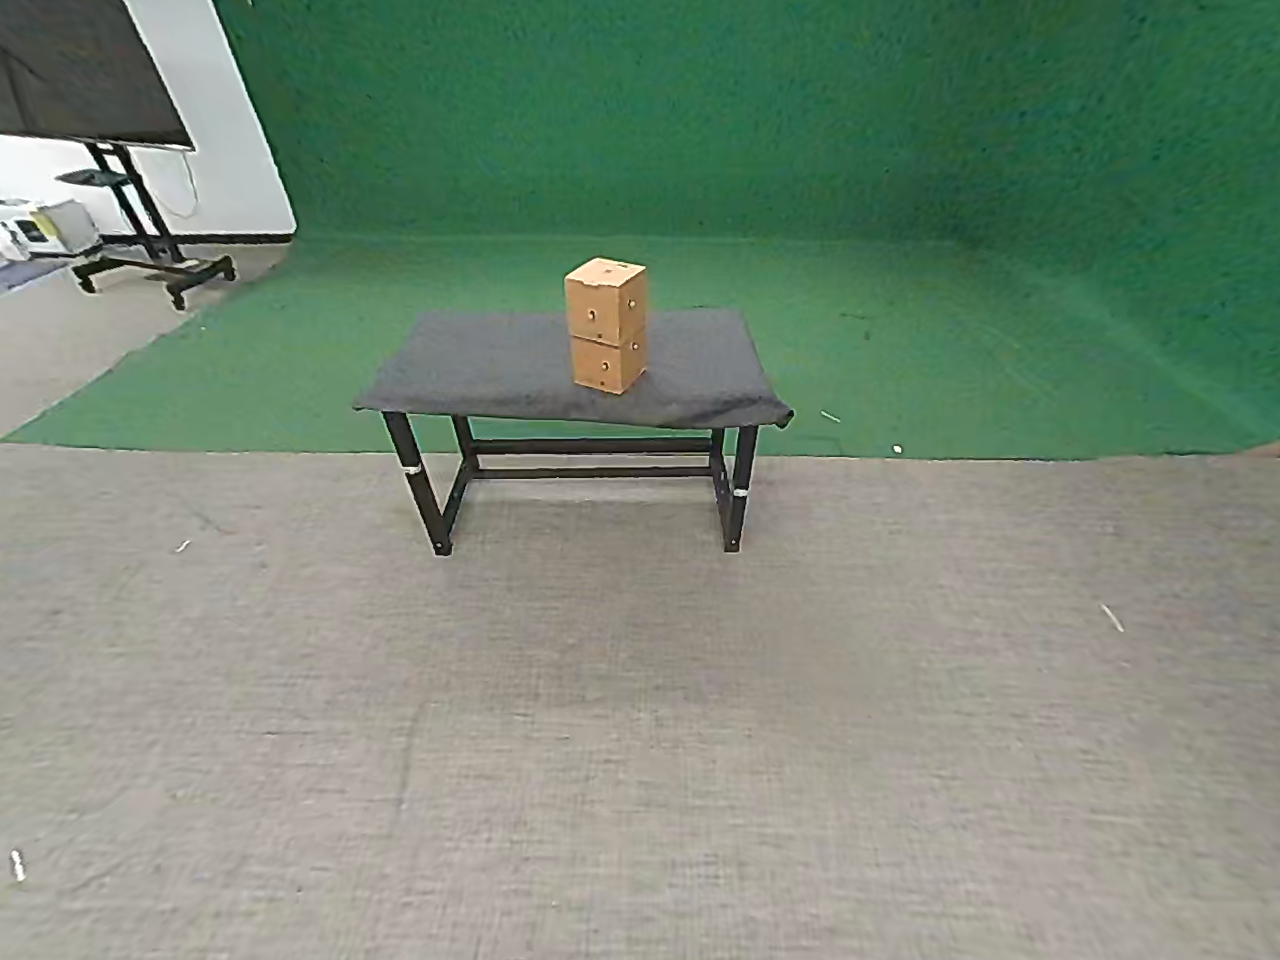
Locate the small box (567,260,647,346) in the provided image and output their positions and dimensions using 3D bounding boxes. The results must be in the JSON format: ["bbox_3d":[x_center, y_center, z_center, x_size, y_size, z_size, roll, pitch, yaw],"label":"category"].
[{"bbox_3d":[-0.086,-0.500,1.530,0.168,0.176,0.179,19,45,19],"label":"small box"}]

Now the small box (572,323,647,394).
[{"bbox_3d":[-0.087,-0.384,1.645,0.168,0.176,0.179,18,43,19],"label":"small box"}]
